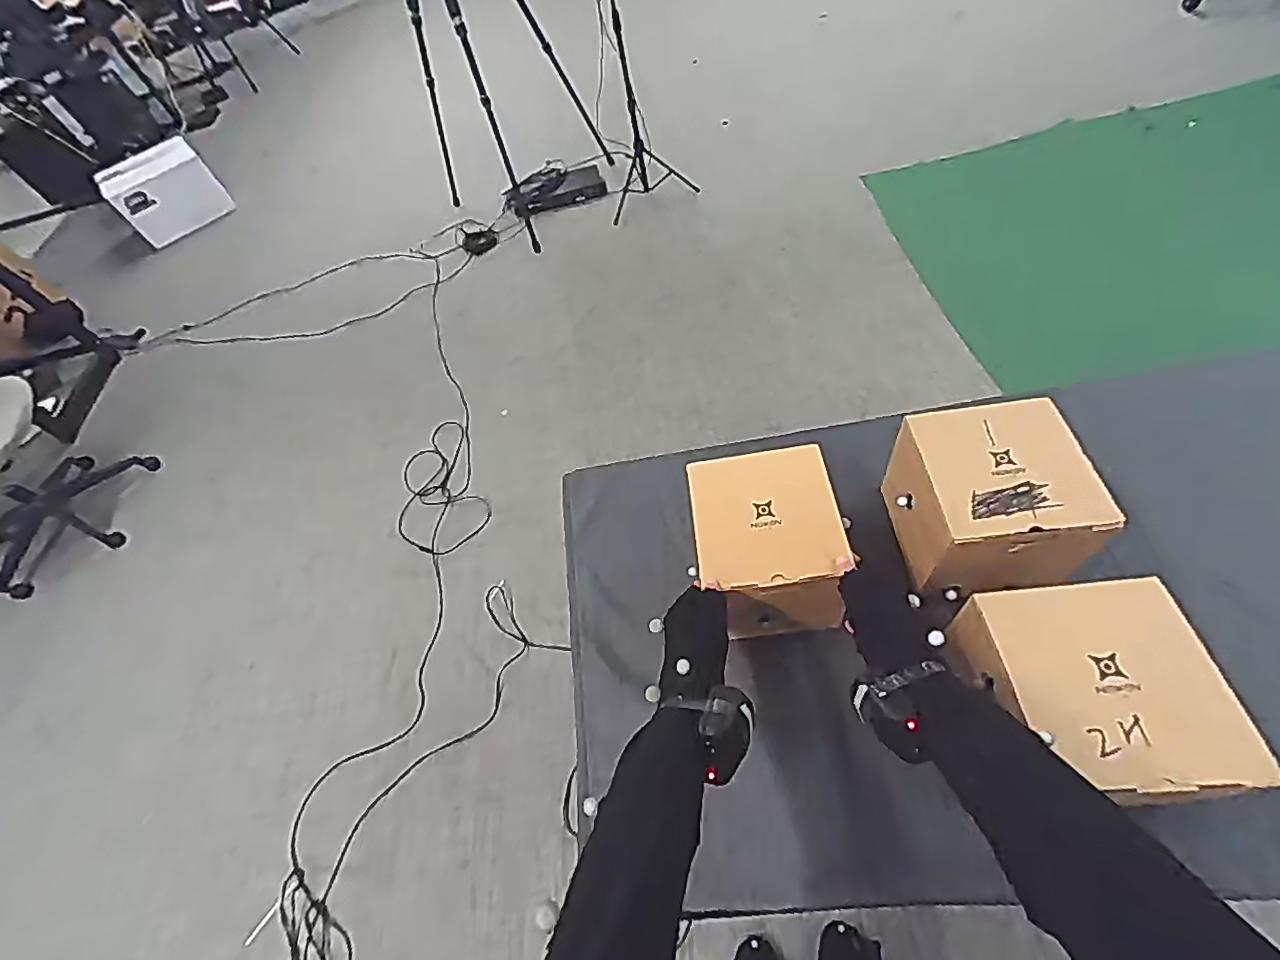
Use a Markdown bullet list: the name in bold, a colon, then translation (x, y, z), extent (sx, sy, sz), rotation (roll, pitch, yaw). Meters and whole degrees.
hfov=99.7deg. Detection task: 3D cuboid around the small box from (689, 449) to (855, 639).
- **small box**: translation (0.157, 0.087, 0.691), extent (0.168, 0.176, 0.179), rotation (-8, 56, 6)
